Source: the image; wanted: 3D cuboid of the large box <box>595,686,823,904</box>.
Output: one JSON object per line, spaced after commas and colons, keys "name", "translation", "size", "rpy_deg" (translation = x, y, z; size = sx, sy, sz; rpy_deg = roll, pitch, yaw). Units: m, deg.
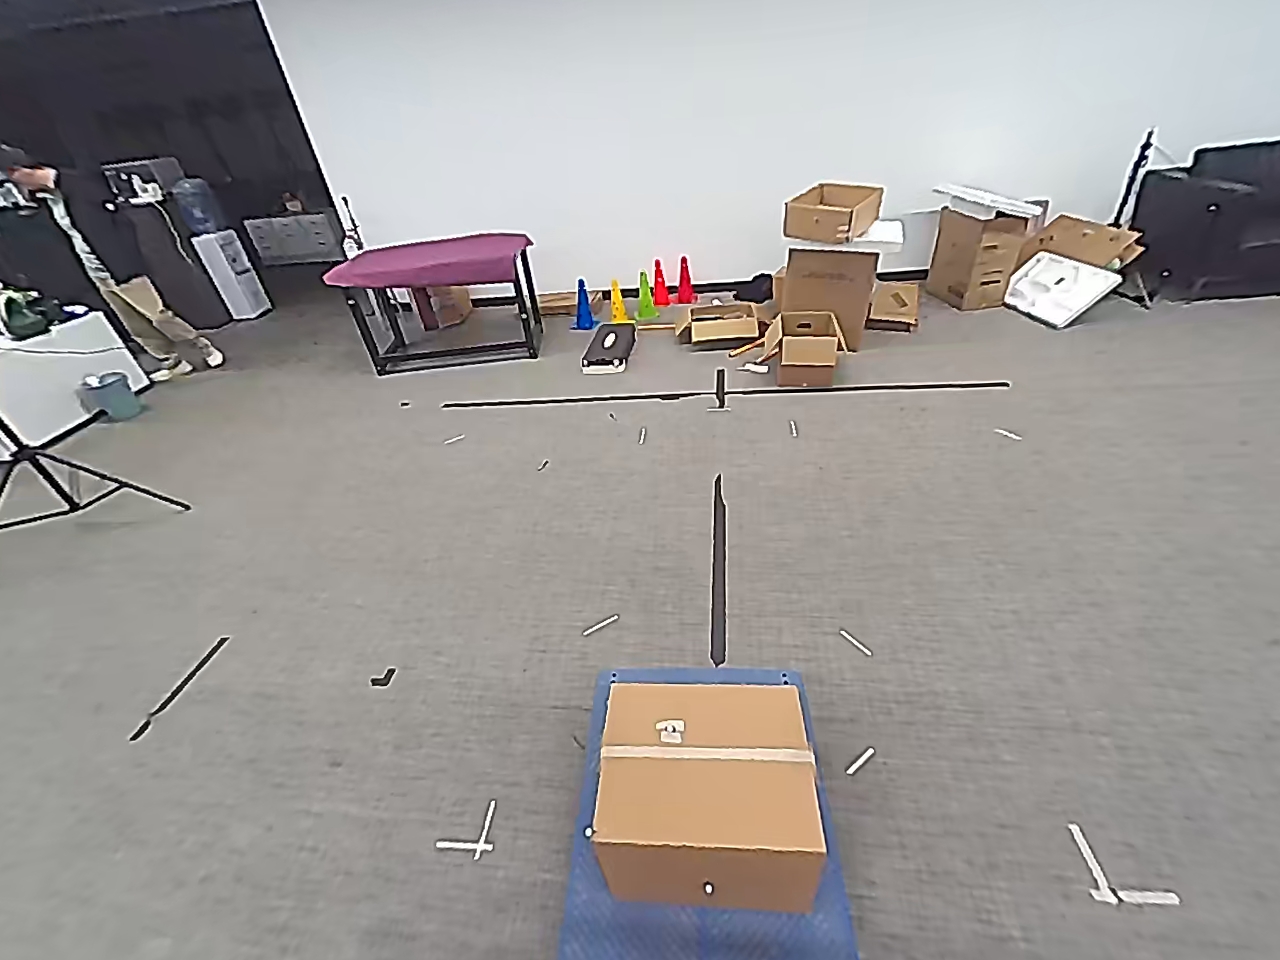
{"name": "large box", "translation": [0.142, 0.665, 1.148], "size": [0.408, 0.320, 0.320], "rpy_deg": [-3, 35, 7]}
